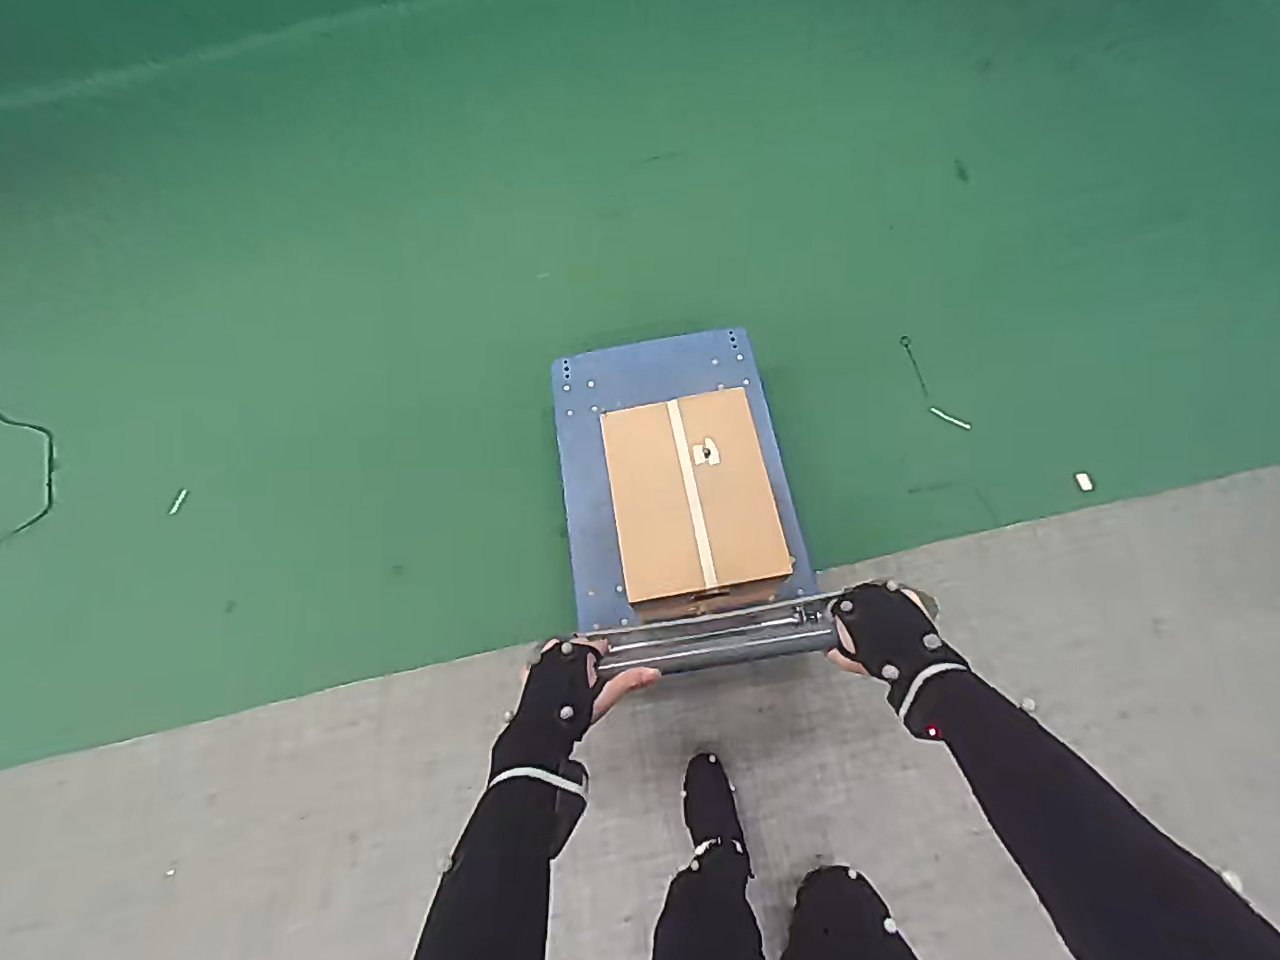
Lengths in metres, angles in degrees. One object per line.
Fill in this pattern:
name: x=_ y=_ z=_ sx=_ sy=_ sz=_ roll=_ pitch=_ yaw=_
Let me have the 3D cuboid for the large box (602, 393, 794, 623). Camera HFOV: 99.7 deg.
large box: x=0.118 y=0.078 z=1.211 sx=0.320 sy=0.320 sz=0.408 roll=-10 pitch=68 yaw=1
